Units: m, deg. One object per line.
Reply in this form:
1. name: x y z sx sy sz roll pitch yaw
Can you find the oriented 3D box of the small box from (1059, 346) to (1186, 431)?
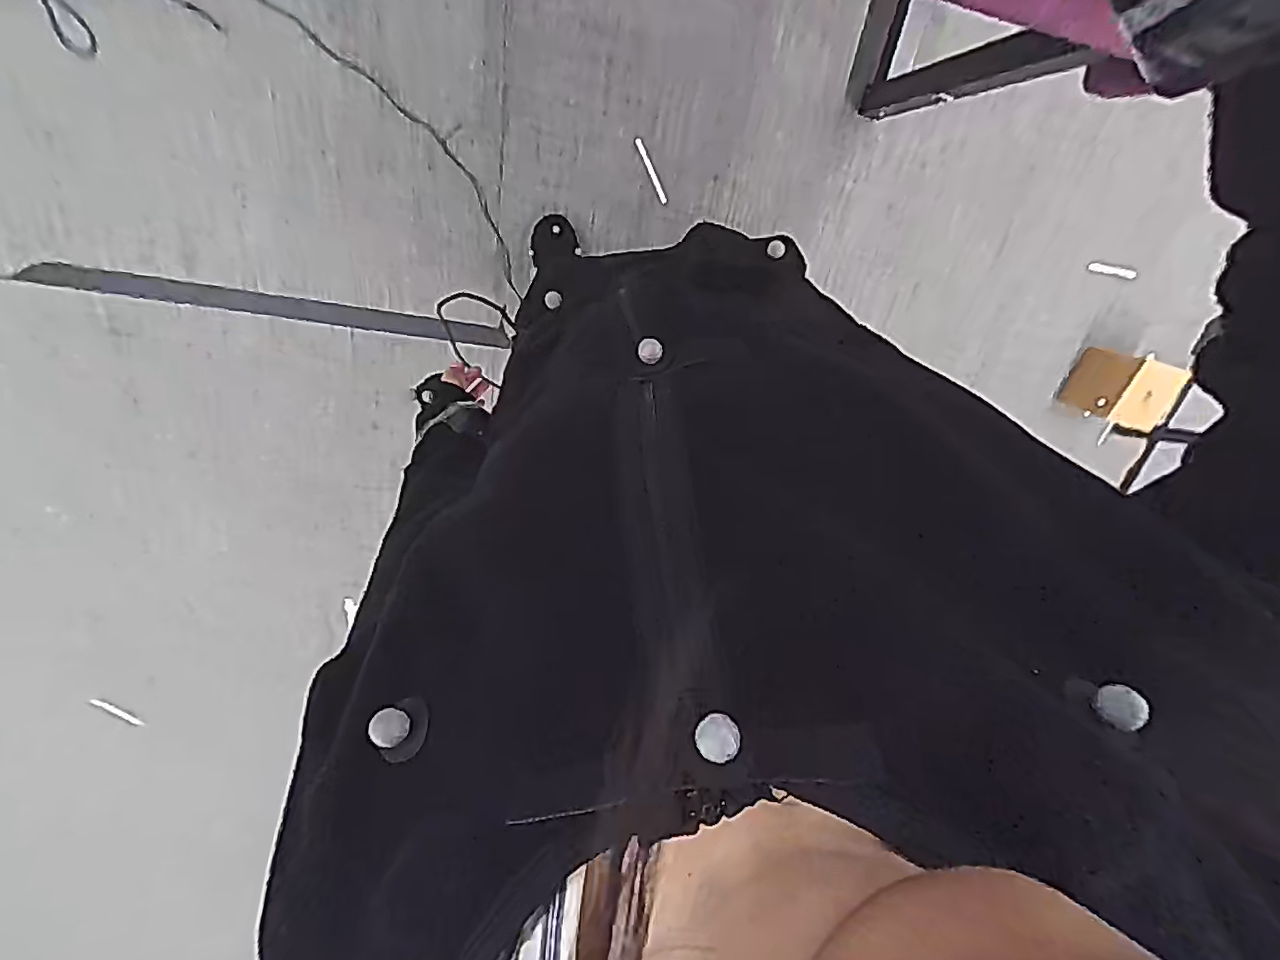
1. small box: 1.345 -0.263 1.524 0.168 0.176 0.179 10 116 -14
